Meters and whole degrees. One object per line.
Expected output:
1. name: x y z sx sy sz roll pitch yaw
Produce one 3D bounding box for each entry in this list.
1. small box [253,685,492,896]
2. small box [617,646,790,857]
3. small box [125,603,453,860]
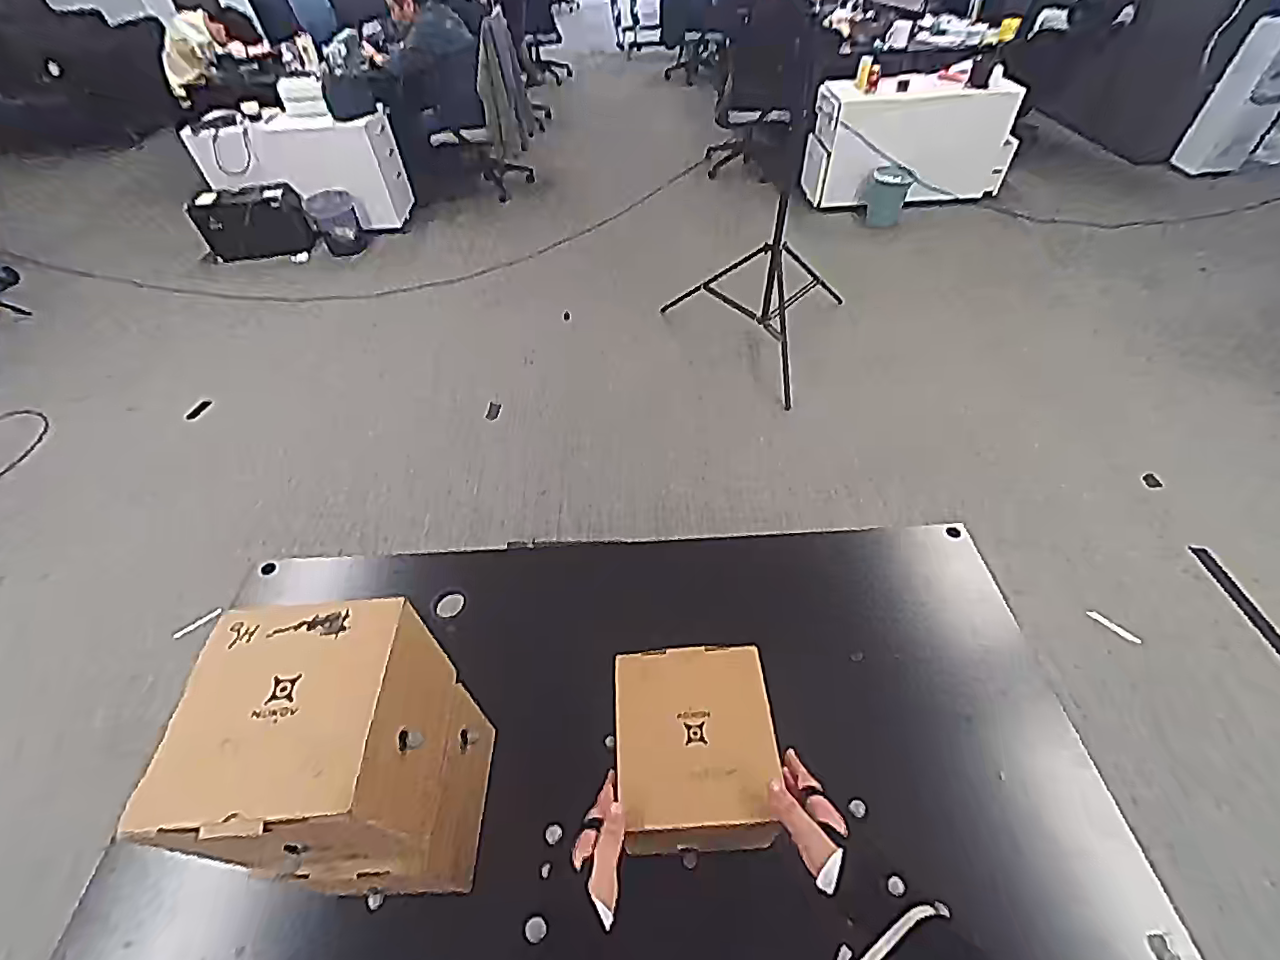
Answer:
1. small box: -0.275 0.351 0.612 0.168 0.176 0.179 -2 48 1
2. small box: 0.061 0.316 0.628 0.168 0.176 0.179 -5 49 0
3. small box: -0.285 0.235 0.496 0.168 0.176 0.179 -4 49 -1
